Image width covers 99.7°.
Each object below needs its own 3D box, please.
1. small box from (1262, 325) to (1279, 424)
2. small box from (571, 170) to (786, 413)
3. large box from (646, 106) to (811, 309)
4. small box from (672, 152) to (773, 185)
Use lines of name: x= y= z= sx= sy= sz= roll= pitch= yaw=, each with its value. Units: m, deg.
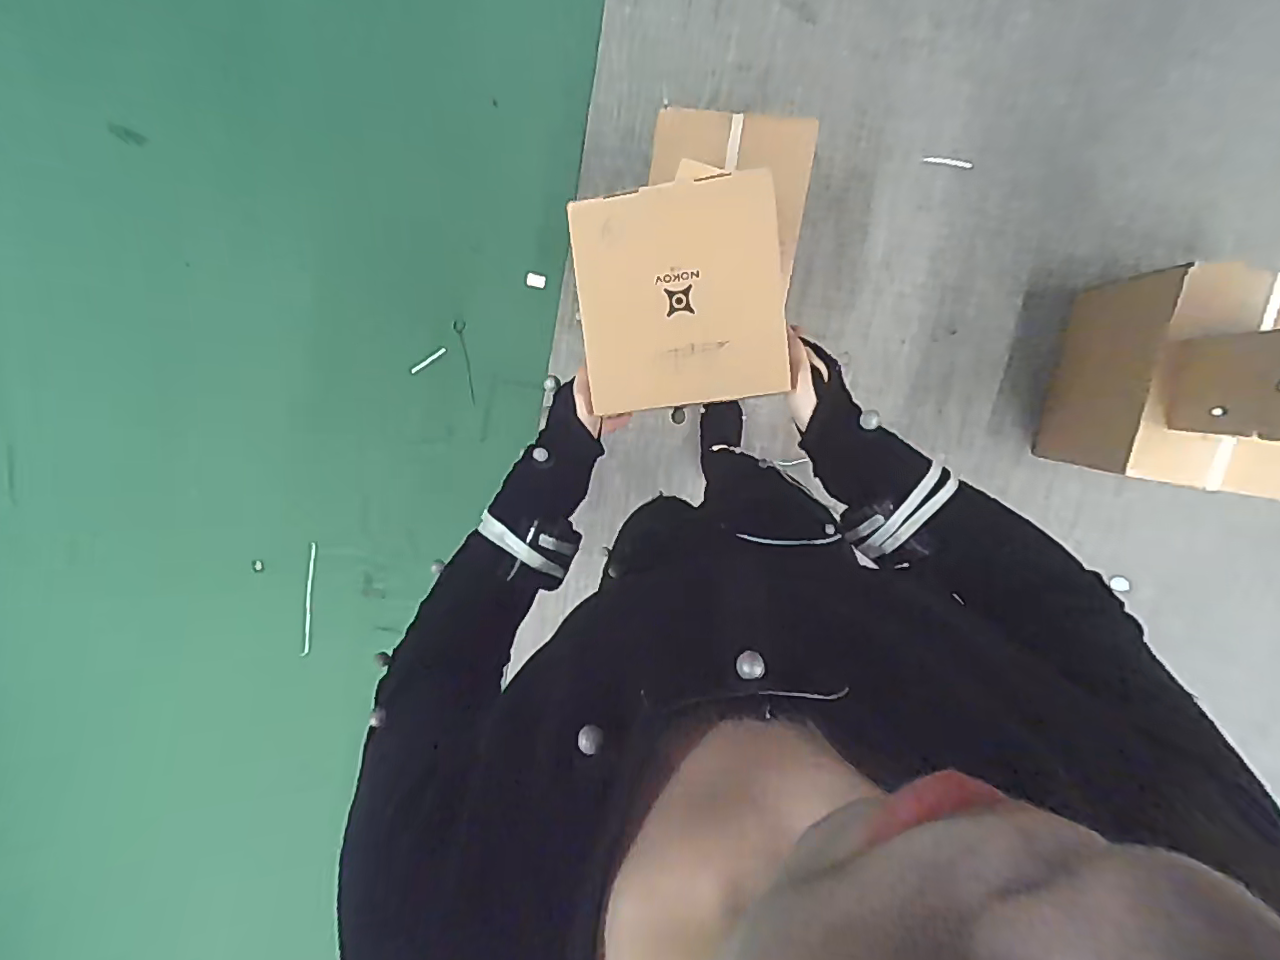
small box: x=1.067 y=-0.156 z=0.770 sx=0.168 sy=0.176 sz=0.179 roll=1 pitch=100 yaw=8
small box: x=0.040 y=-0.159 z=0.518 sx=0.168 sy=0.176 sz=0.179 roll=-6 pitch=97 yaw=8
large box: x=0.178 y=-0.547 z=1.235 sx=0.320 sy=0.320 sz=0.408 roll=10 pitch=99 yaw=6
small box: x=0.131 y=-0.462 z=1.004 sx=0.168 sy=0.176 sz=0.179 roll=21 pitch=101 yaw=5
